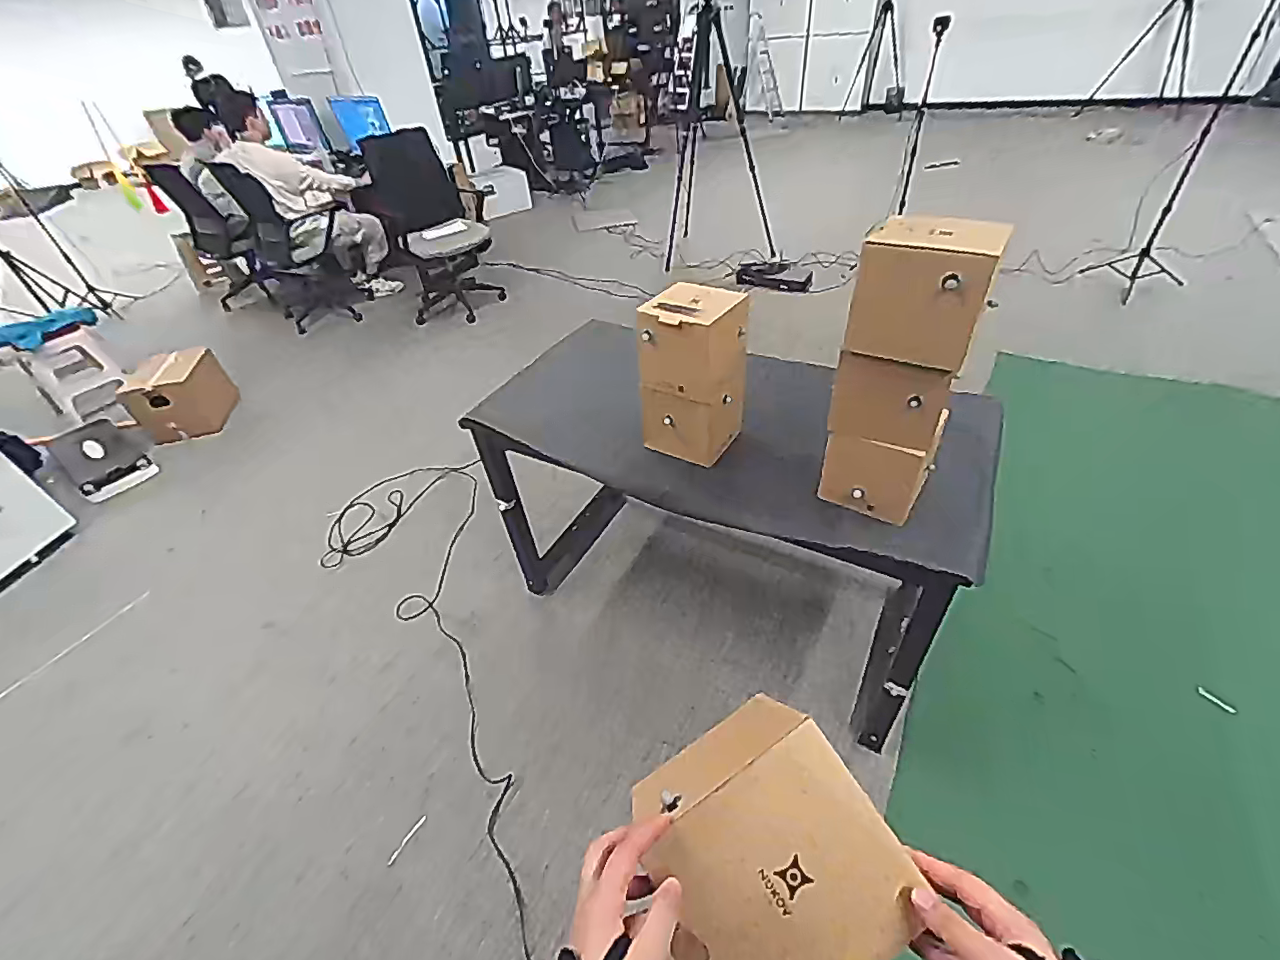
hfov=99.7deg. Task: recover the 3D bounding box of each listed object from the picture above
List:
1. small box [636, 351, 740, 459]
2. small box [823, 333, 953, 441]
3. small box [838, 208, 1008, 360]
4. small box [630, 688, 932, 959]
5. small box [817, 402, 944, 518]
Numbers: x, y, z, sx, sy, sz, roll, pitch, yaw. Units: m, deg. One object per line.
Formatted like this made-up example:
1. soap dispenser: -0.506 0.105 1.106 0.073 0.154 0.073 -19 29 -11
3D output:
1. small box: 0.111 -0.169 1.222 0.179 0.176 0.168 19 46 28
2. small box: 0.435 -0.187 0.947 0.179 0.176 0.168 15 42 25
3. small box: 0.423 -0.299 0.823 0.179 0.176 0.168 19 44 28
4. small box: 0.104 0.311 0.484 0.179 0.176 0.168 -34 79 -8
5. small box: 0.457 -0.059 1.044 0.168 0.176 0.179 22 47 30
